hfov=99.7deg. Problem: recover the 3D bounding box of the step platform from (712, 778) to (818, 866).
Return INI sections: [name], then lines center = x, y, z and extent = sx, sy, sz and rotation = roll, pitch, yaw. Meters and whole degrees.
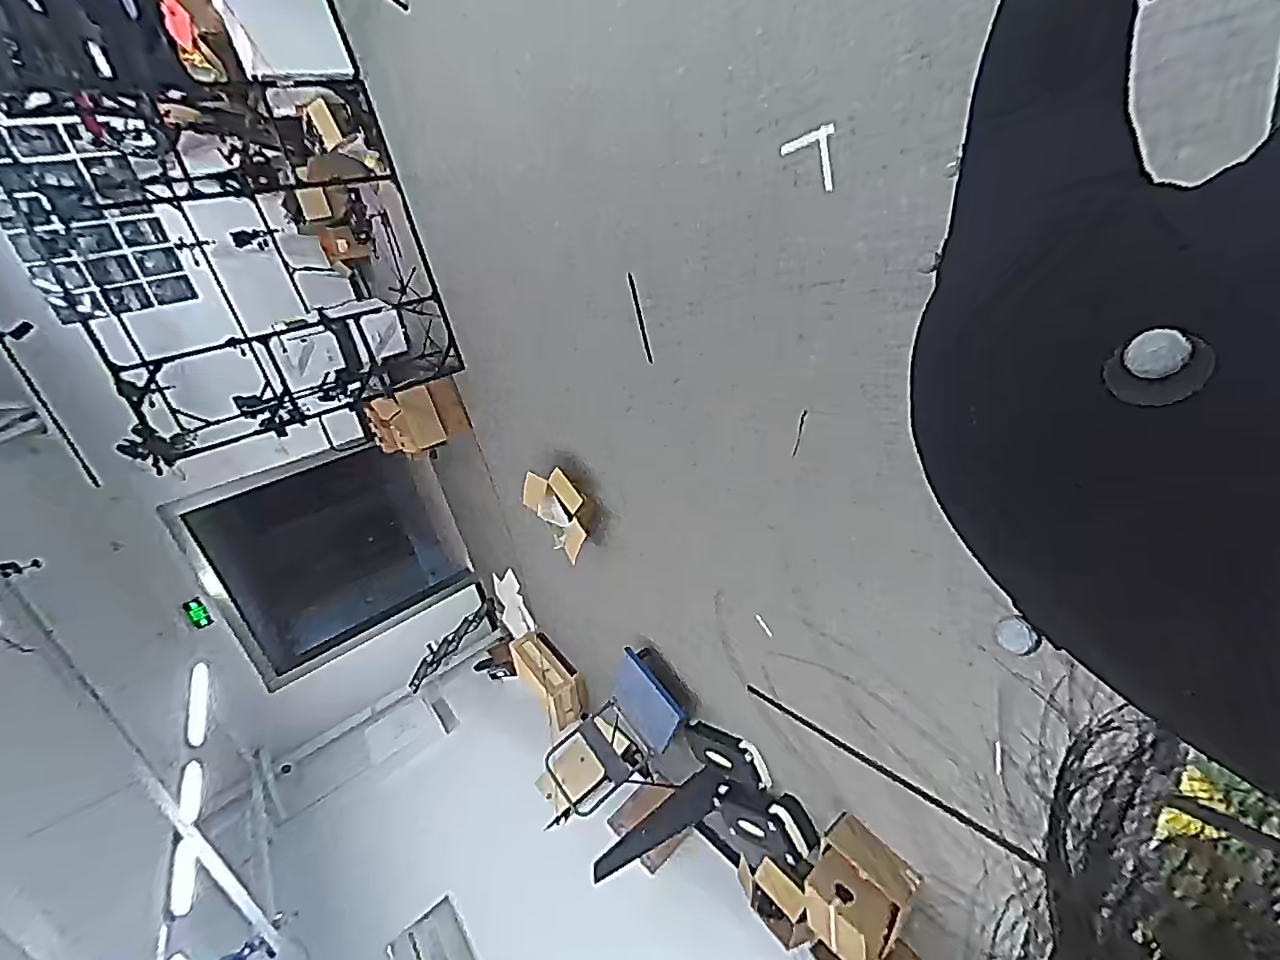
[step platform]
center = 0.714, 2.021, 3.218
extent = 0.286, 0.204, 0.684
rotation = 61, 148, 3
